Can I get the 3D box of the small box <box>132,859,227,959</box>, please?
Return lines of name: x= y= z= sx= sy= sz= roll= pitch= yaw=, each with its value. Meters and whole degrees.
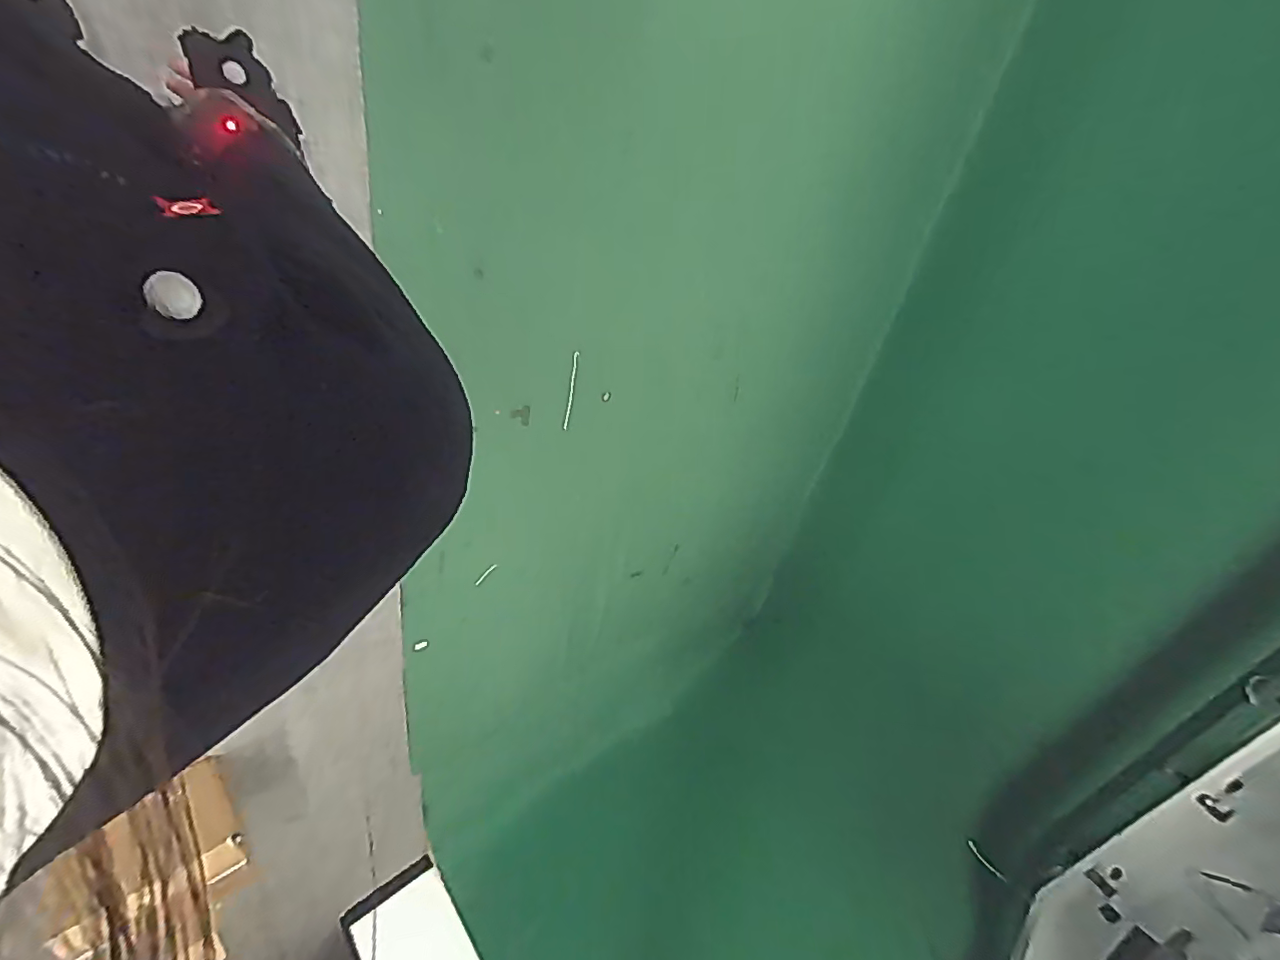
small box: x=-1.329 y=1.257 z=1.561 sx=0.179 sy=0.176 sz=0.168 roll=-19 pitch=129 yaw=-38
